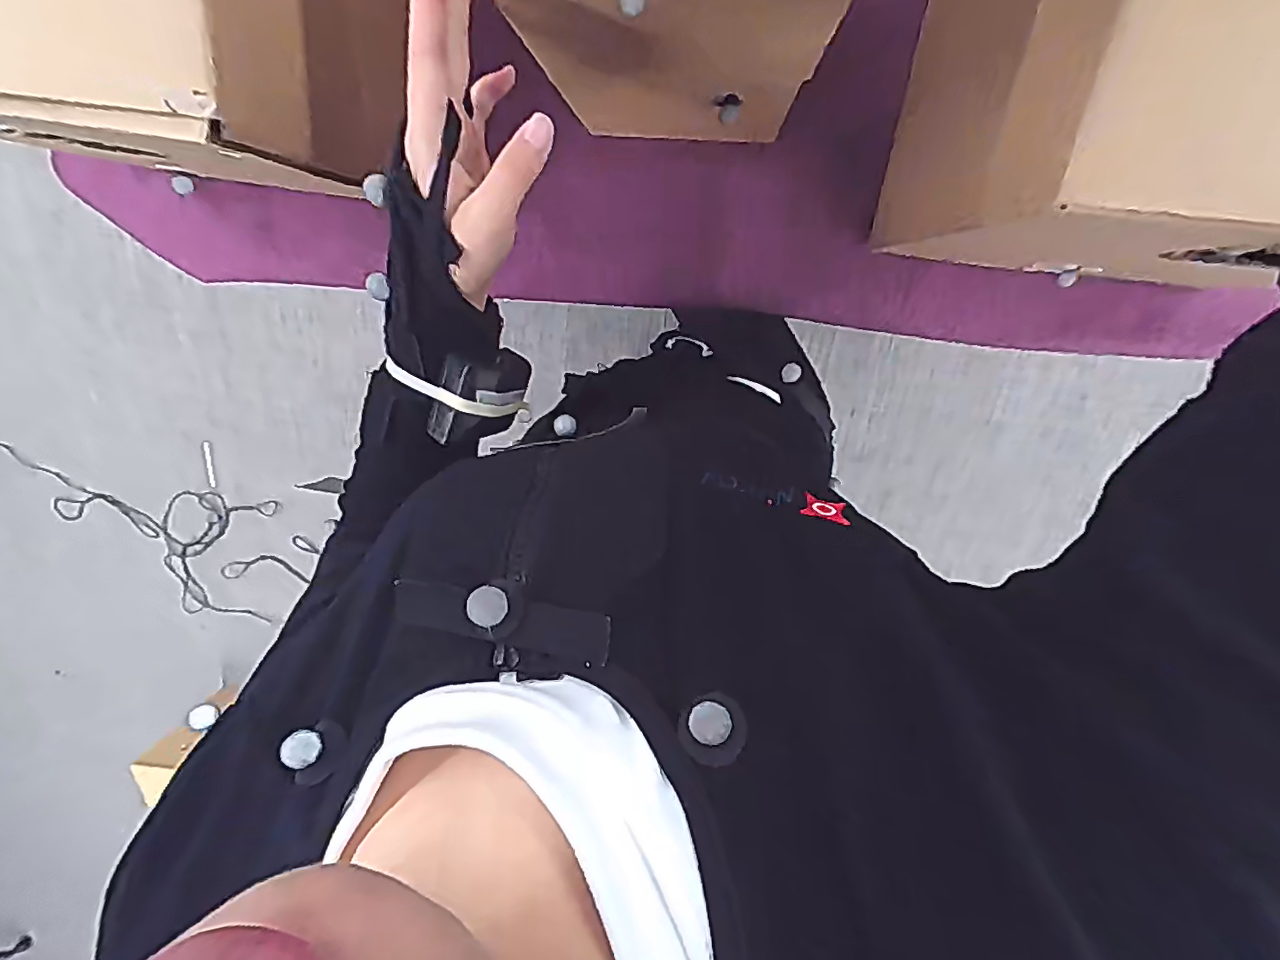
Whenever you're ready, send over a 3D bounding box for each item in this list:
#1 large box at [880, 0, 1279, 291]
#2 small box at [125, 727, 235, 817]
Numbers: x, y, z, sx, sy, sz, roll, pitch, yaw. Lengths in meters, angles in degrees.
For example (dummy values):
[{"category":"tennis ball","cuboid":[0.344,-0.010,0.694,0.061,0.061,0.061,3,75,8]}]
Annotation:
[{"category":"large box","cuboid":[0.371,-0.328,0.296,0.320,0.320,0.408,8,109,4]},{"category":"small box","cuboid":[-1.391,0.883,1.649,0.168,0.176,0.179,2,111,7]}]
